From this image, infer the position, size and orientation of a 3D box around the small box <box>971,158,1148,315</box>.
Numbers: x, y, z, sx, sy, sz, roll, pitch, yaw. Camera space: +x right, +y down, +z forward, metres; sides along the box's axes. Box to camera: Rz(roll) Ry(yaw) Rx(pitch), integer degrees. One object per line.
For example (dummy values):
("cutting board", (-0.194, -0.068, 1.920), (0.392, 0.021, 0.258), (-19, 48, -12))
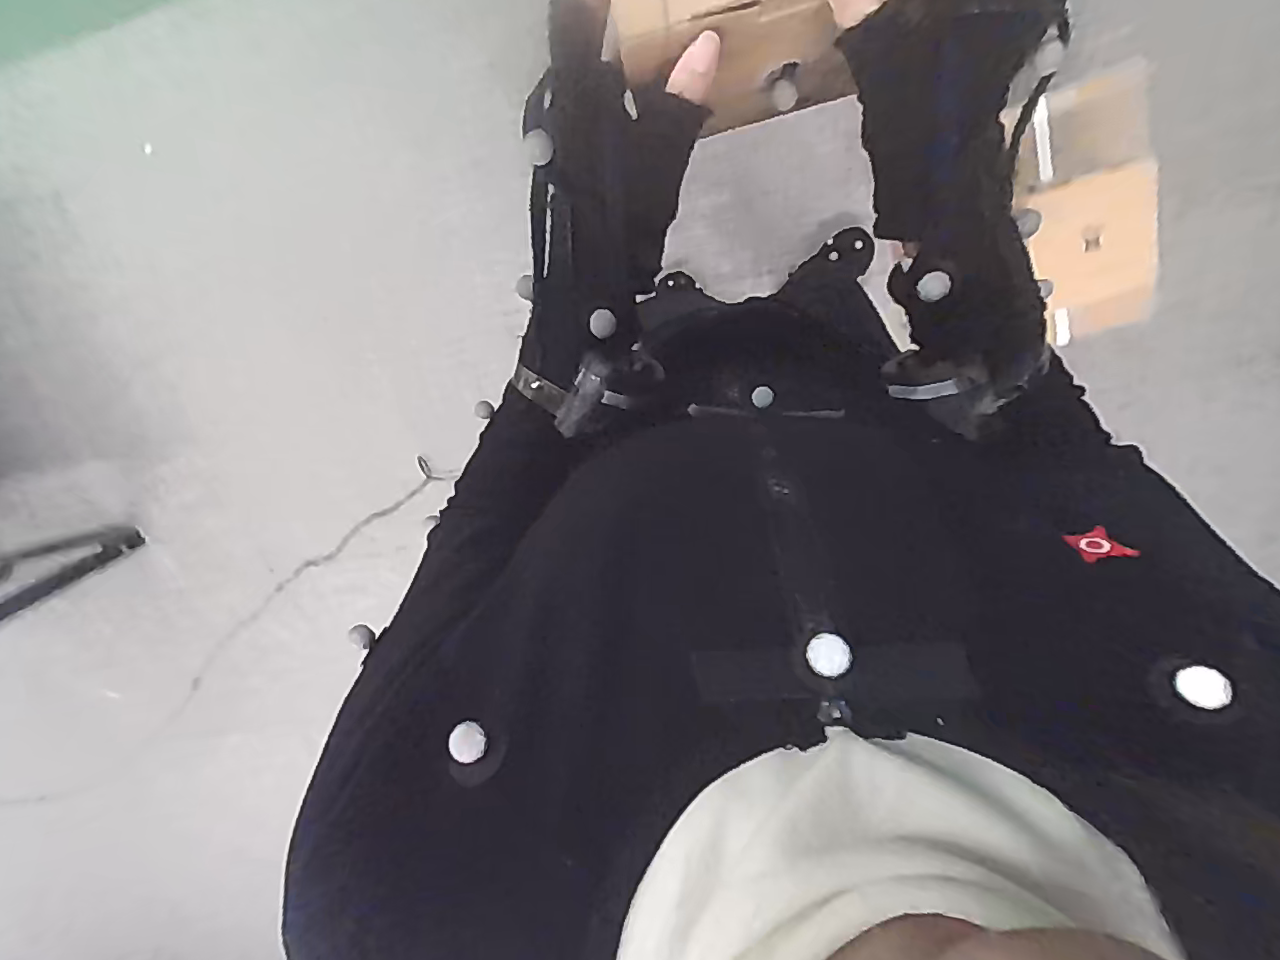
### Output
("small box", (0.657, -0.380, 0.864), (0.168, 0.176, 0.179), (-15, 111, 12))

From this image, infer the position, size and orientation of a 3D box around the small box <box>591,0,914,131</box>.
("small box", (0.051, -0.310, 0.280), (0.168, 0.176, 0.179), (-12, 106, 9))
